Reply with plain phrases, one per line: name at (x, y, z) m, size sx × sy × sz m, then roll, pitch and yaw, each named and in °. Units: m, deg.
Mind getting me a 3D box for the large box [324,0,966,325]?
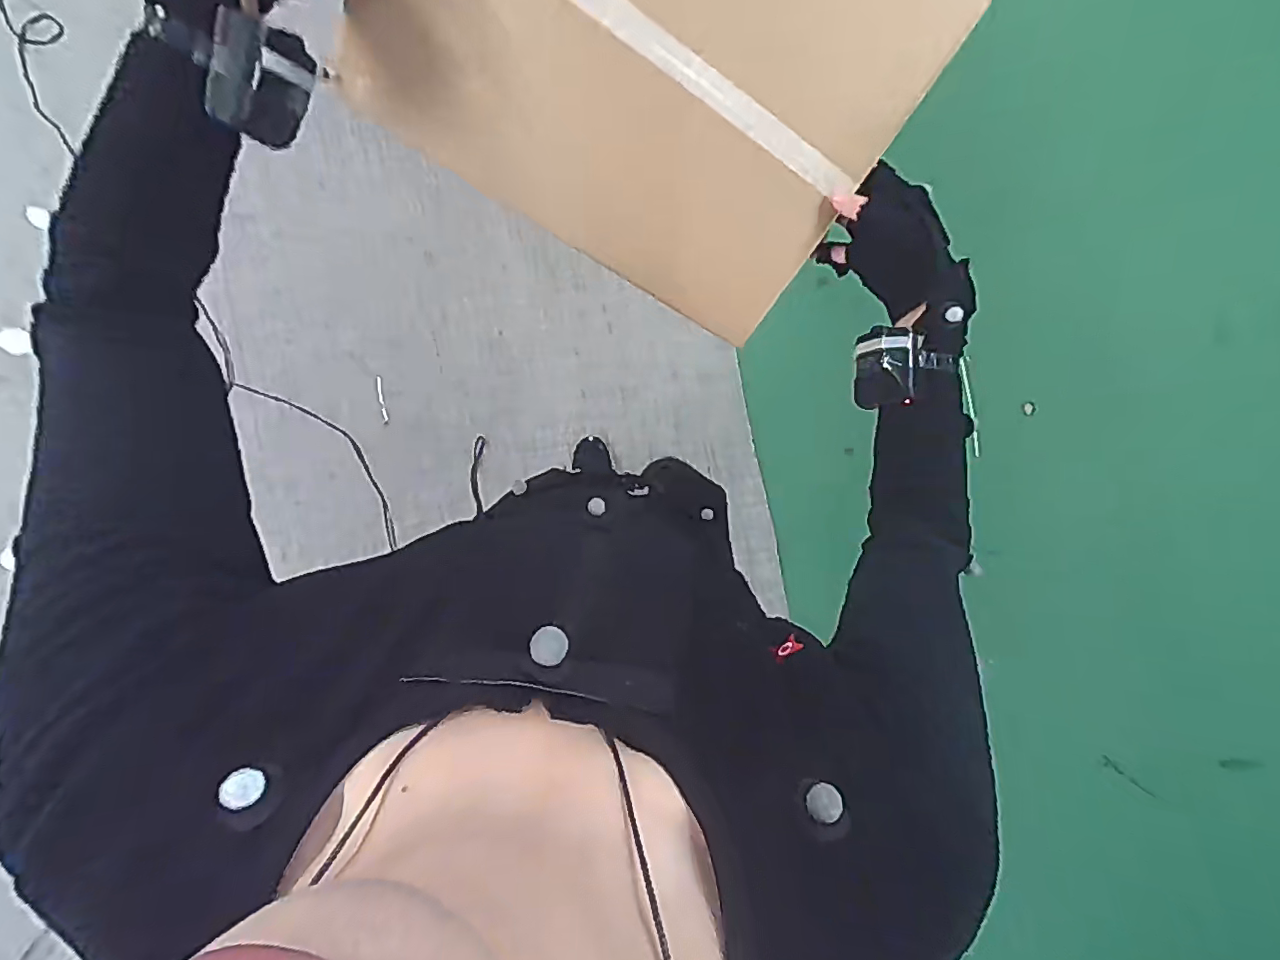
large box at (0.003, -0.423, 0.525) m, size 0.408 × 0.320 × 0.320 m, roll 27°, pitch 120°, yaw -17°
